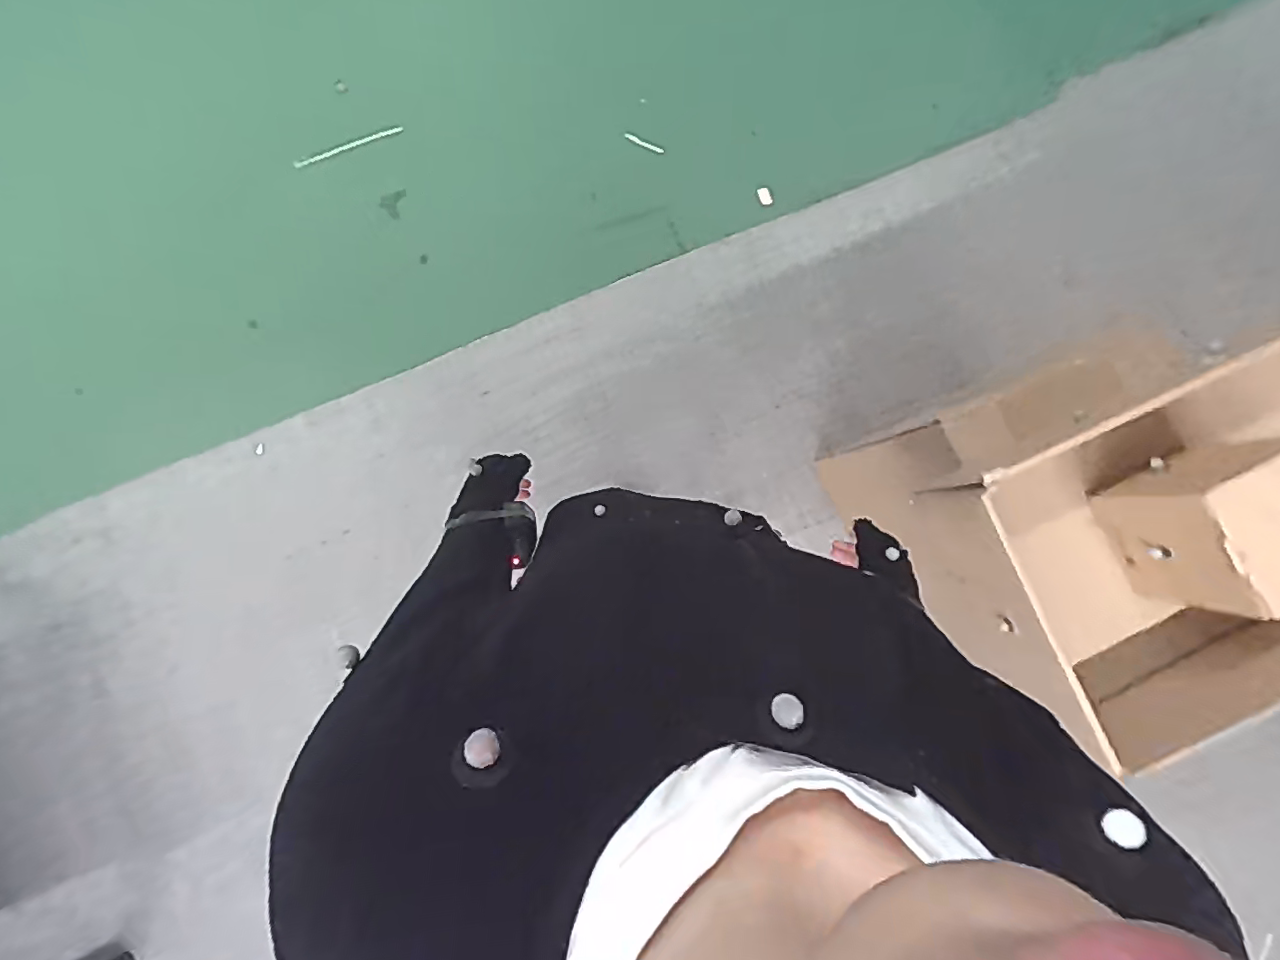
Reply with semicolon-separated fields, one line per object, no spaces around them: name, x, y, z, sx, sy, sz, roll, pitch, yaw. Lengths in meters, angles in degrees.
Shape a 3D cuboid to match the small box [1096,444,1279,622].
small box;0.765;0.066;0.718;0.179;0.176;0.168;-25;88;-2
